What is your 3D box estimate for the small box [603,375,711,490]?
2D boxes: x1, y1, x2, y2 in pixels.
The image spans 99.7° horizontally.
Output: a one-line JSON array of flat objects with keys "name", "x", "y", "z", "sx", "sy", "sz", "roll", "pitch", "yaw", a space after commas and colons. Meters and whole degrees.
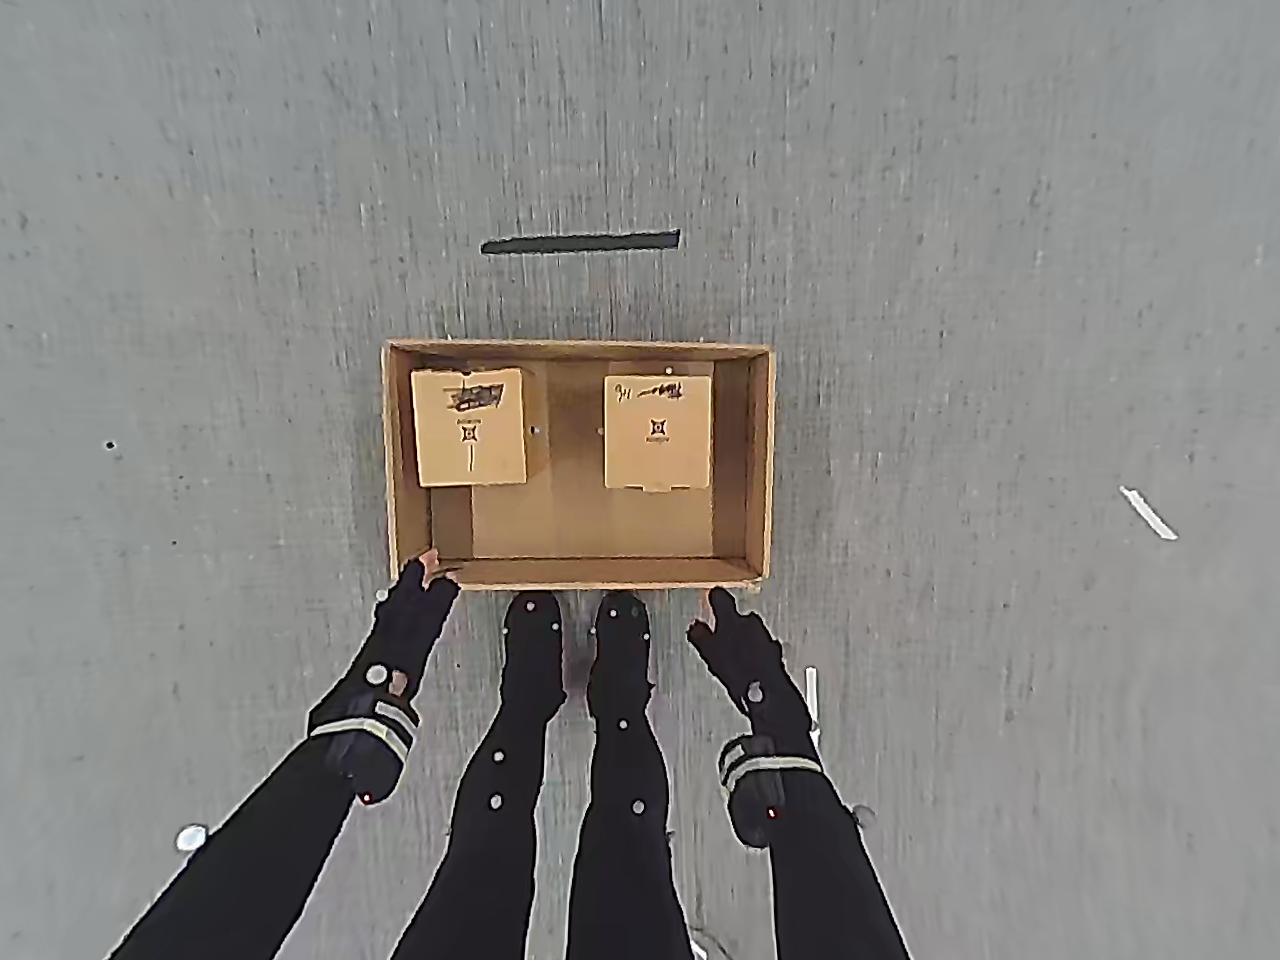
[{"name": "small box", "x": 0.024, "y": -0.083, "z": 0.910, "sx": 0.168, "sy": 0.176, "sz": 0.179, "roll": 0, "pitch": 98, "yaw": -2}]
